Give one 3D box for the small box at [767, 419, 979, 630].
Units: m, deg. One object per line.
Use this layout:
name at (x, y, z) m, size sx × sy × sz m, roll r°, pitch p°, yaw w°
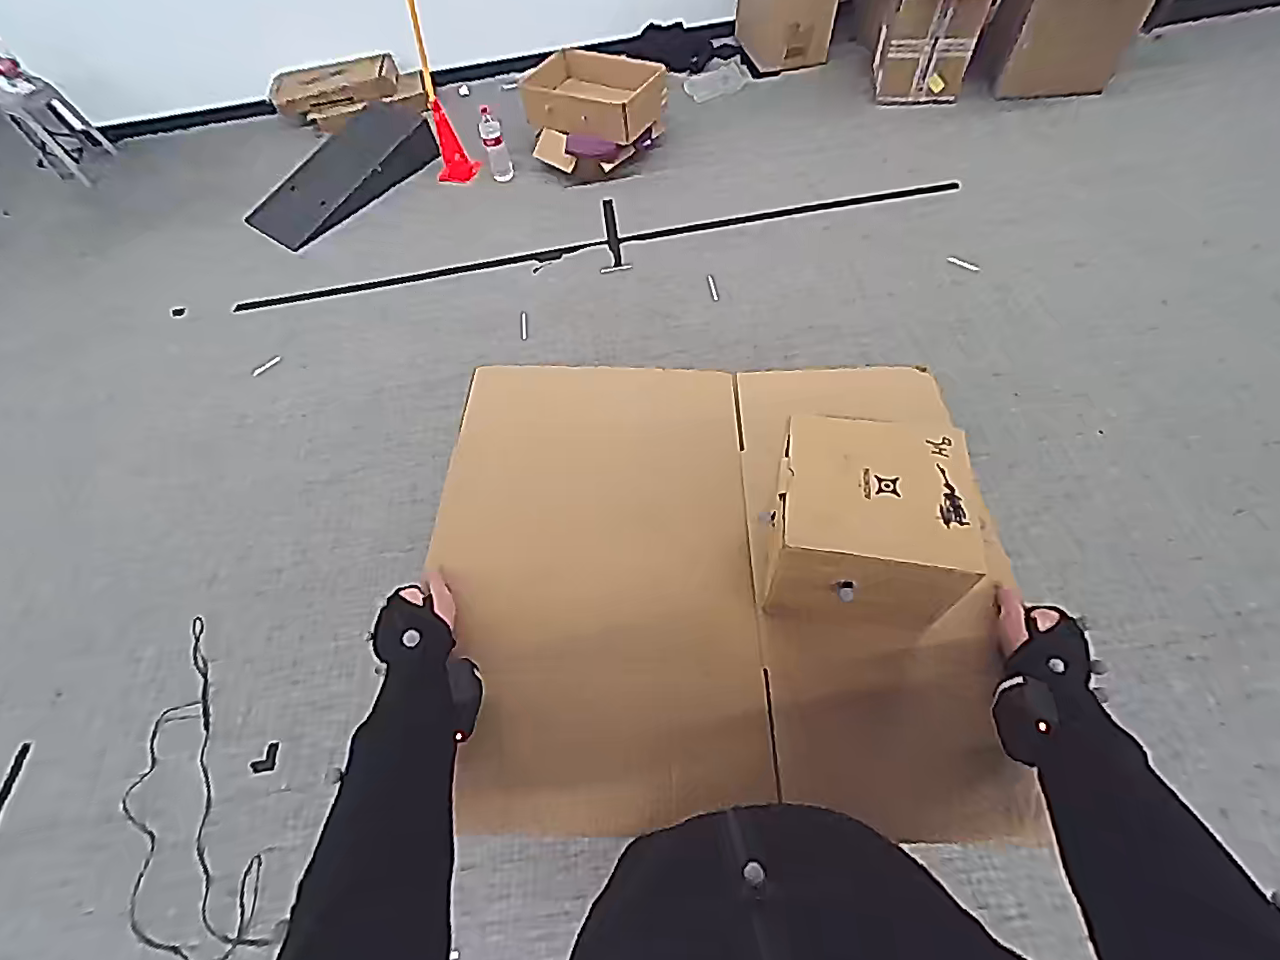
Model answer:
small box at (0.239, 0.053, 0.600) m, size 0.179 × 0.176 × 0.168 m, roll 7°, pitch 57°, yaw 11°
